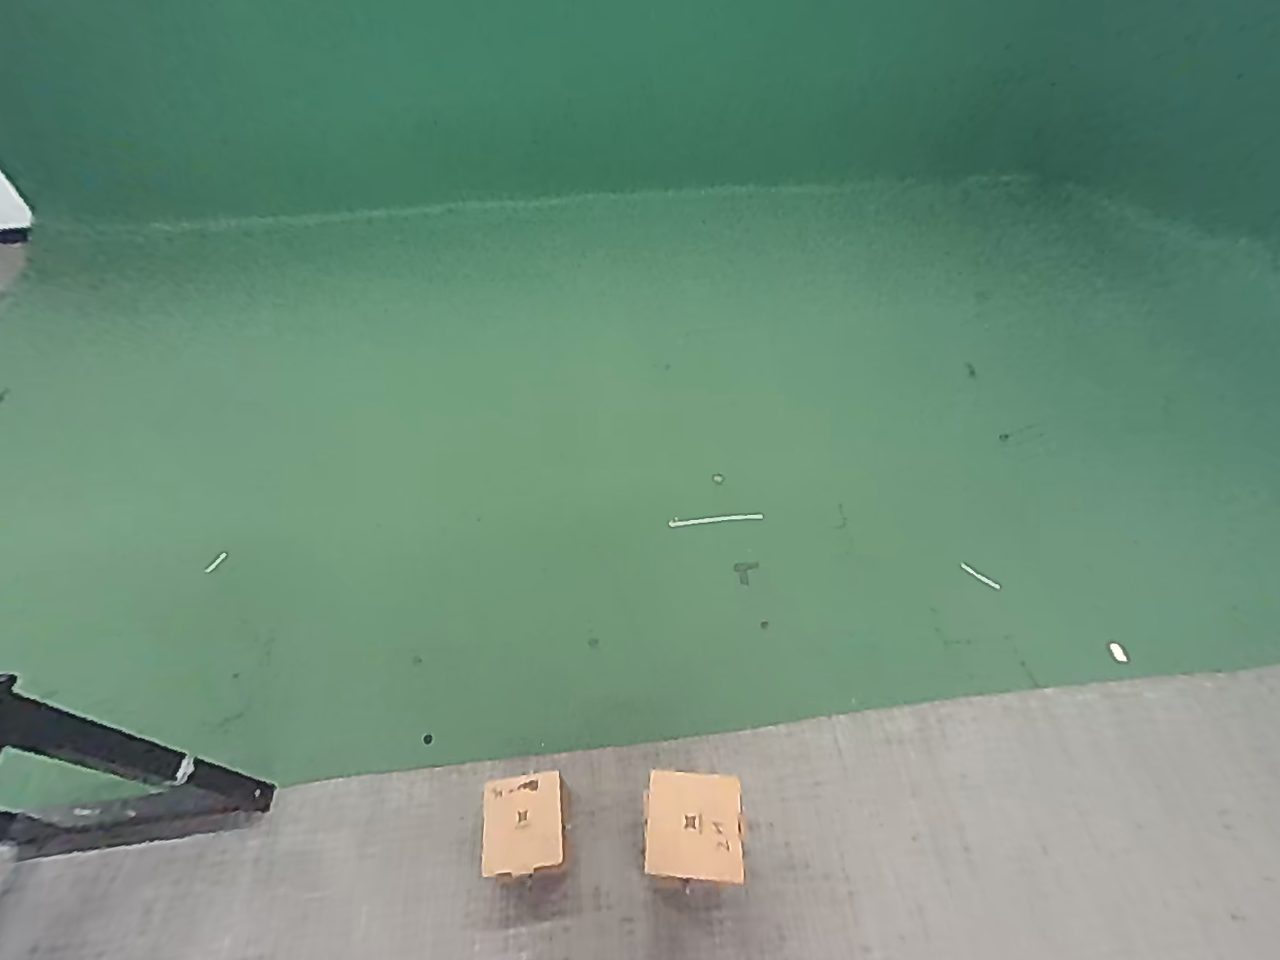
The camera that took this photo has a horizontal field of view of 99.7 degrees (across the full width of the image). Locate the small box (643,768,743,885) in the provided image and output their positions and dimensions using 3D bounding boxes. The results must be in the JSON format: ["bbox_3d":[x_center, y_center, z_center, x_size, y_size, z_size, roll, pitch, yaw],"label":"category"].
[{"bbox_3d":[0.099,0.666,1.036,0.179,0.176,0.168,3,52,3],"label":"small box"}]

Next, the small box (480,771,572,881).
[{"bbox_3d":[-0.244,0.760,1.181,0.168,0.176,0.179,-7,51,-4],"label":"small box"}]
